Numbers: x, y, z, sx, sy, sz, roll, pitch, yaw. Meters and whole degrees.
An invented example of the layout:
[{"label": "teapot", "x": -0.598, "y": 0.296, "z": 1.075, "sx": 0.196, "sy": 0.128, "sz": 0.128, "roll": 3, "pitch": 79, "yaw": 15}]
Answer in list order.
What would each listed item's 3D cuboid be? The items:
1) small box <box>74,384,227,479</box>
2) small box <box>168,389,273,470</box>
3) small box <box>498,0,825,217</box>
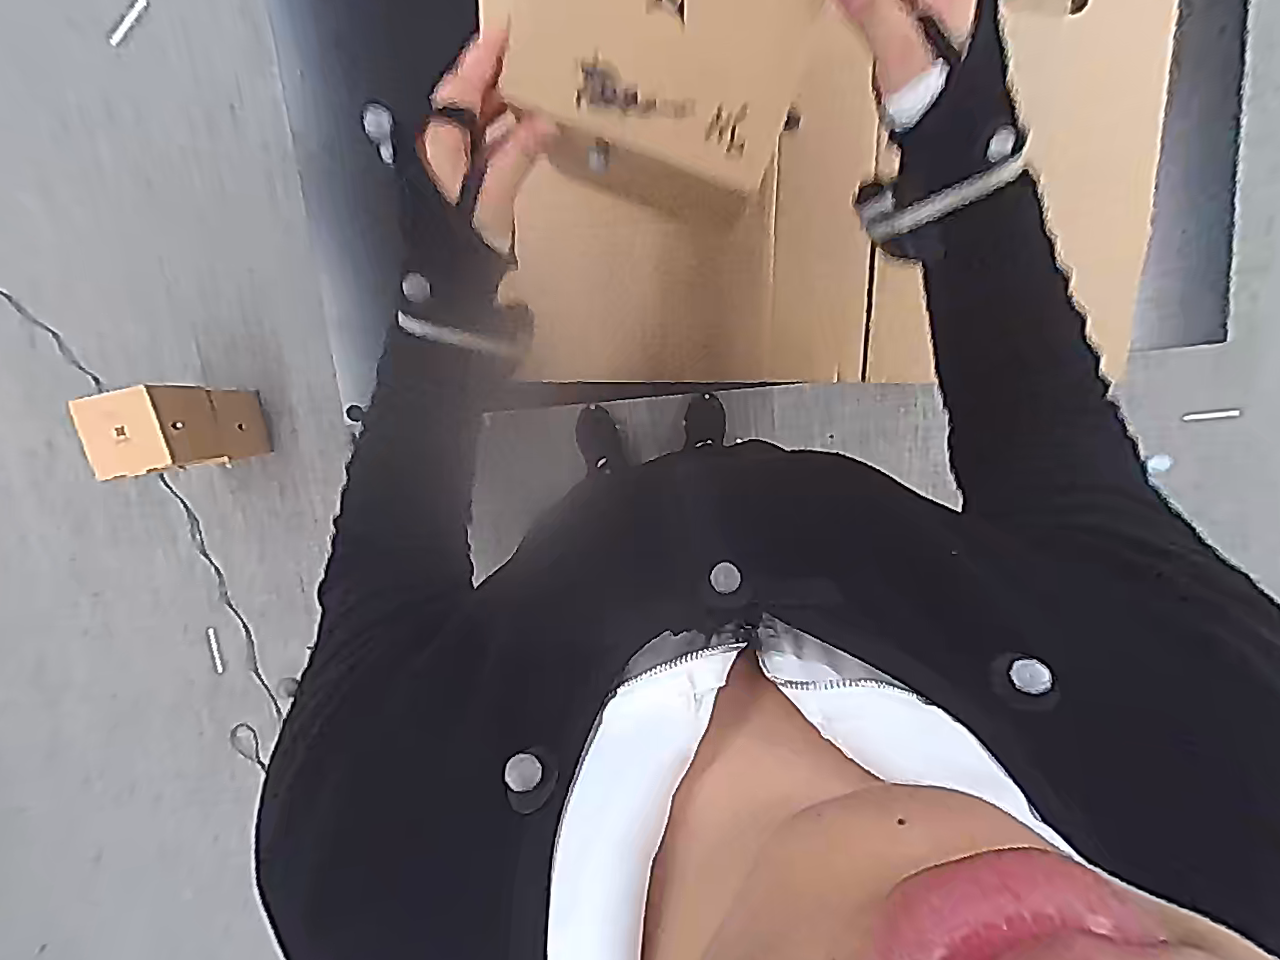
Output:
[{"label": "small box", "x": -1.079, "y": -0.112, "z": 1.211, "sx": 0.168, "sy": 0.176, "sz": 0.179, "roll": -13, "pitch": 98, "yaw": 0}, {"label": "small box", "x": -1.080, "y": -0.132, "z": 1.372, "sx": 0.168, "sy": 0.176, "sz": 0.179, "roll": -9, "pitch": 100, "yaw": 0}, {"label": "small box", "x": 0.027, "y": -0.307, "z": 0.365, "sx": 0.168, "sy": 0.176, "sz": 0.179, "roll": 20, "pitch": 106, "yaw": -1}]
